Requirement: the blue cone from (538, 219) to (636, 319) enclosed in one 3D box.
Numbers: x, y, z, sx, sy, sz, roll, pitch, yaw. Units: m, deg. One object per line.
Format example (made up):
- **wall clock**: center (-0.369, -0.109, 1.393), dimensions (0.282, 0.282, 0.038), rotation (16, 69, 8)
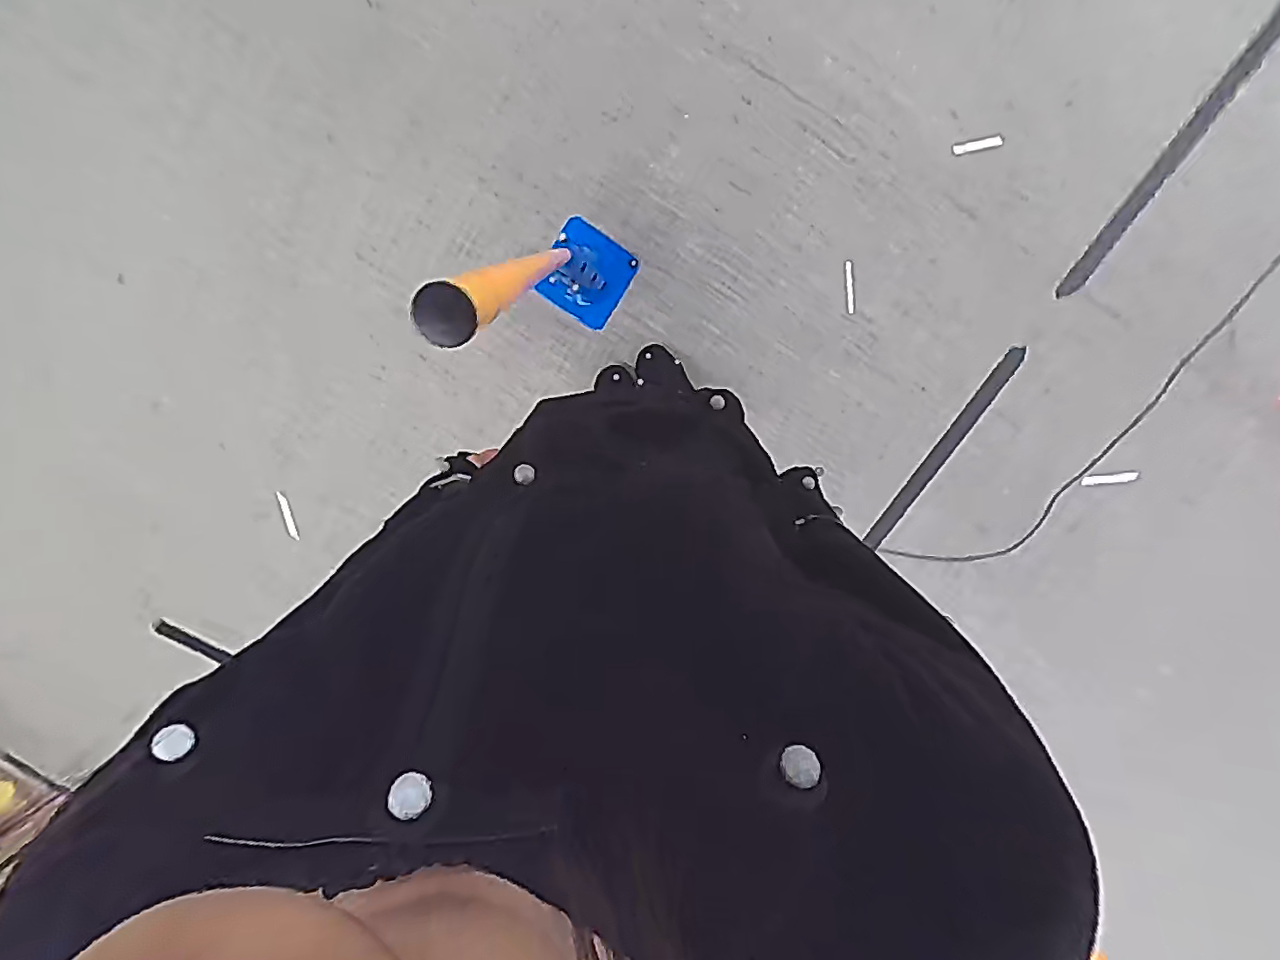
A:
- **blue cone**: center (-0.131, -0.460, 1.139), dimensions (0.193, 0.380, 0.192), rotation (33, 102, -8)
